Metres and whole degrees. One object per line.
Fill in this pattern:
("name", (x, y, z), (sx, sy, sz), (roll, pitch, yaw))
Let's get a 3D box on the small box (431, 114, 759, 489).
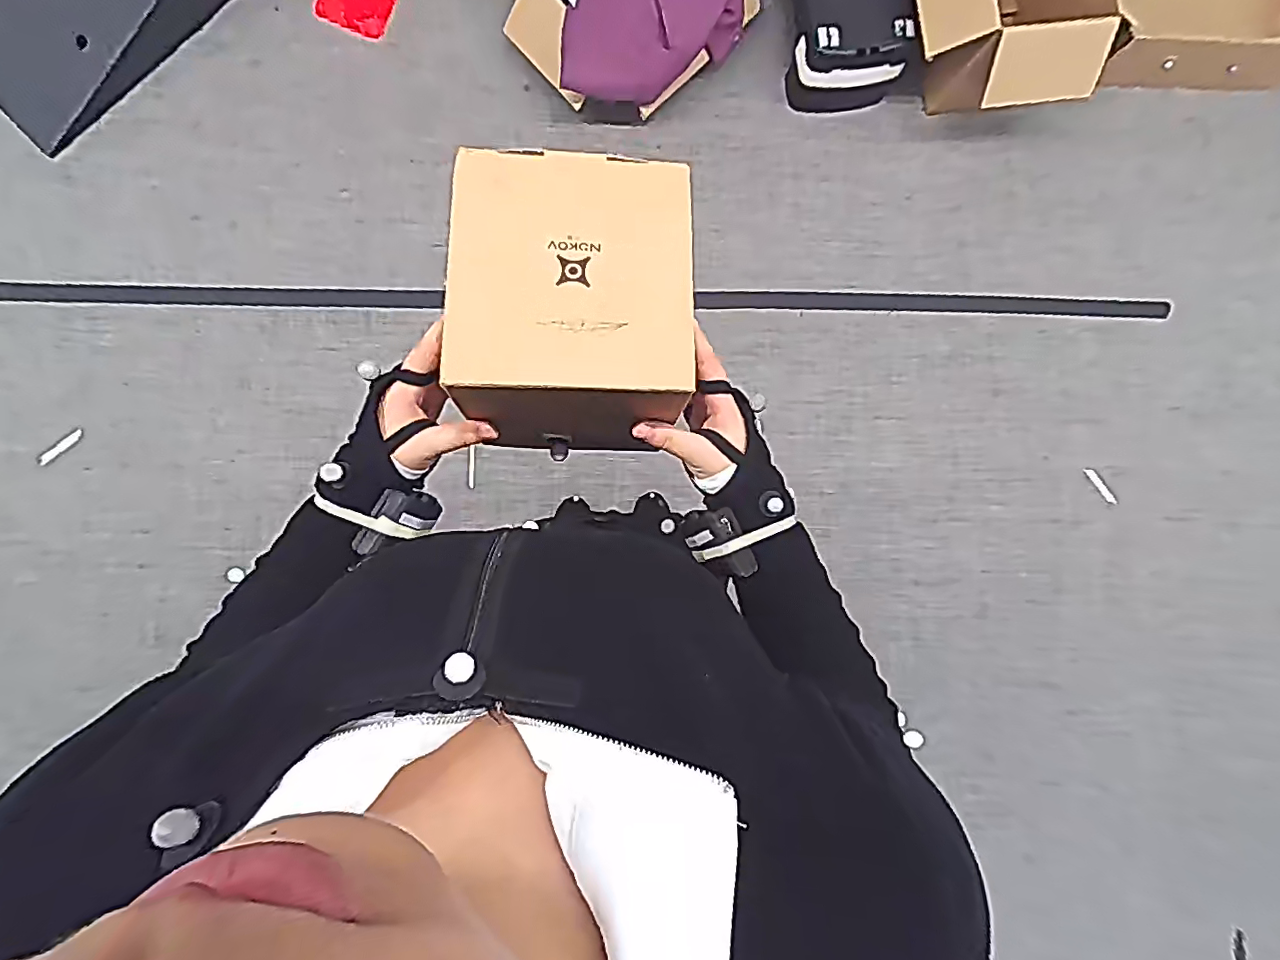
("small box", (-0.029, -0.096, 0.362), (0.168, 0.176, 0.179), (0, 80, -6))
